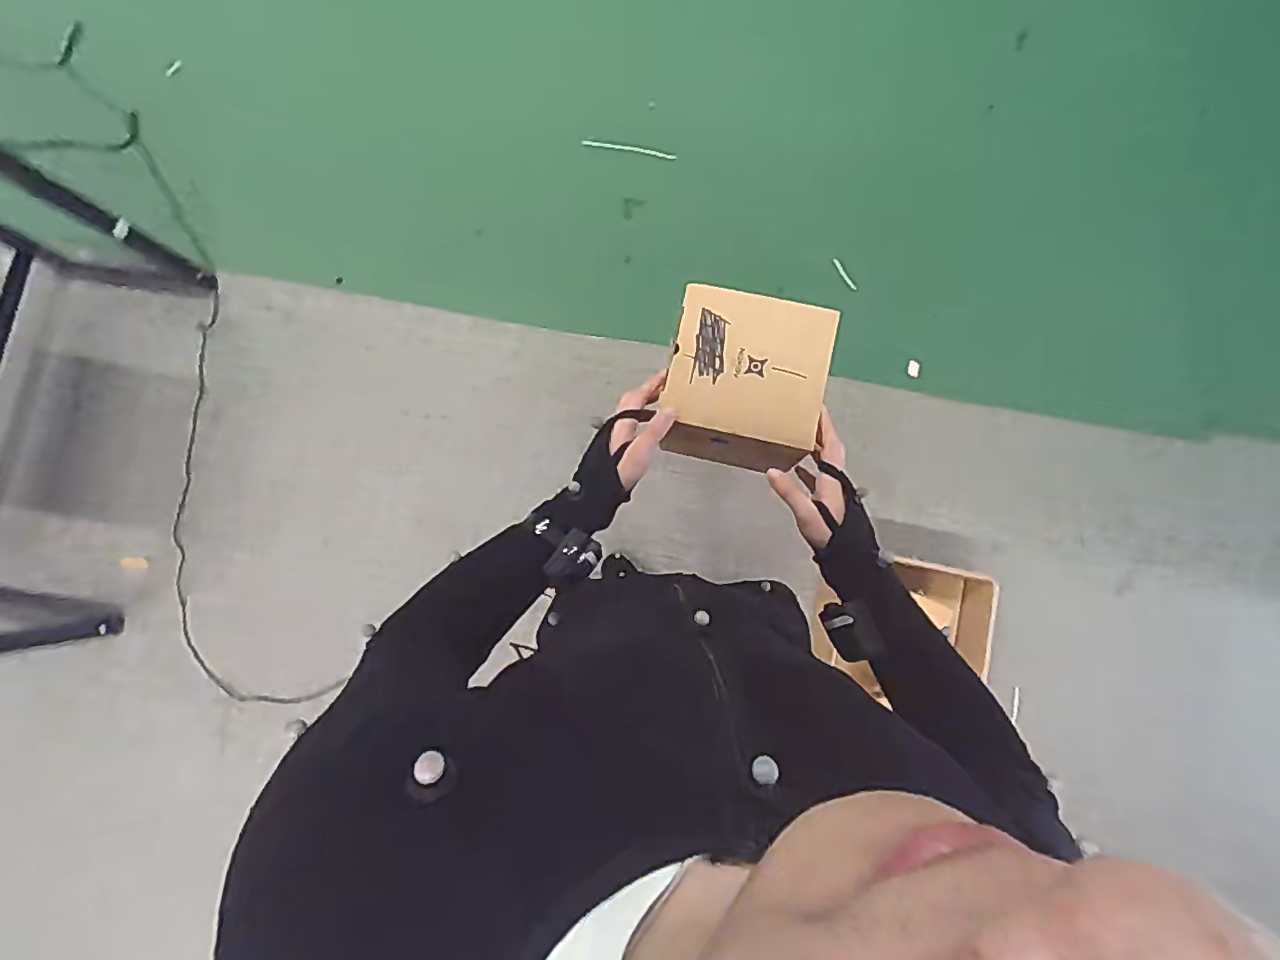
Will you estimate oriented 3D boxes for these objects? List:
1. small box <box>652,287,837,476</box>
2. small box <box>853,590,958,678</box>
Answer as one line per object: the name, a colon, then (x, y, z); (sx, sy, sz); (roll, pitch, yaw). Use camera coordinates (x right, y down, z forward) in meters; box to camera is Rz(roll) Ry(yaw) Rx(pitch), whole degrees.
small box: (0.119, -0.110, 0.670); (0.179, 0.176, 0.168); (13, 81, 5)
small box: (0.706, 0.407, 1.460); (0.179, 0.176, 0.168); (24, 84, 3)
